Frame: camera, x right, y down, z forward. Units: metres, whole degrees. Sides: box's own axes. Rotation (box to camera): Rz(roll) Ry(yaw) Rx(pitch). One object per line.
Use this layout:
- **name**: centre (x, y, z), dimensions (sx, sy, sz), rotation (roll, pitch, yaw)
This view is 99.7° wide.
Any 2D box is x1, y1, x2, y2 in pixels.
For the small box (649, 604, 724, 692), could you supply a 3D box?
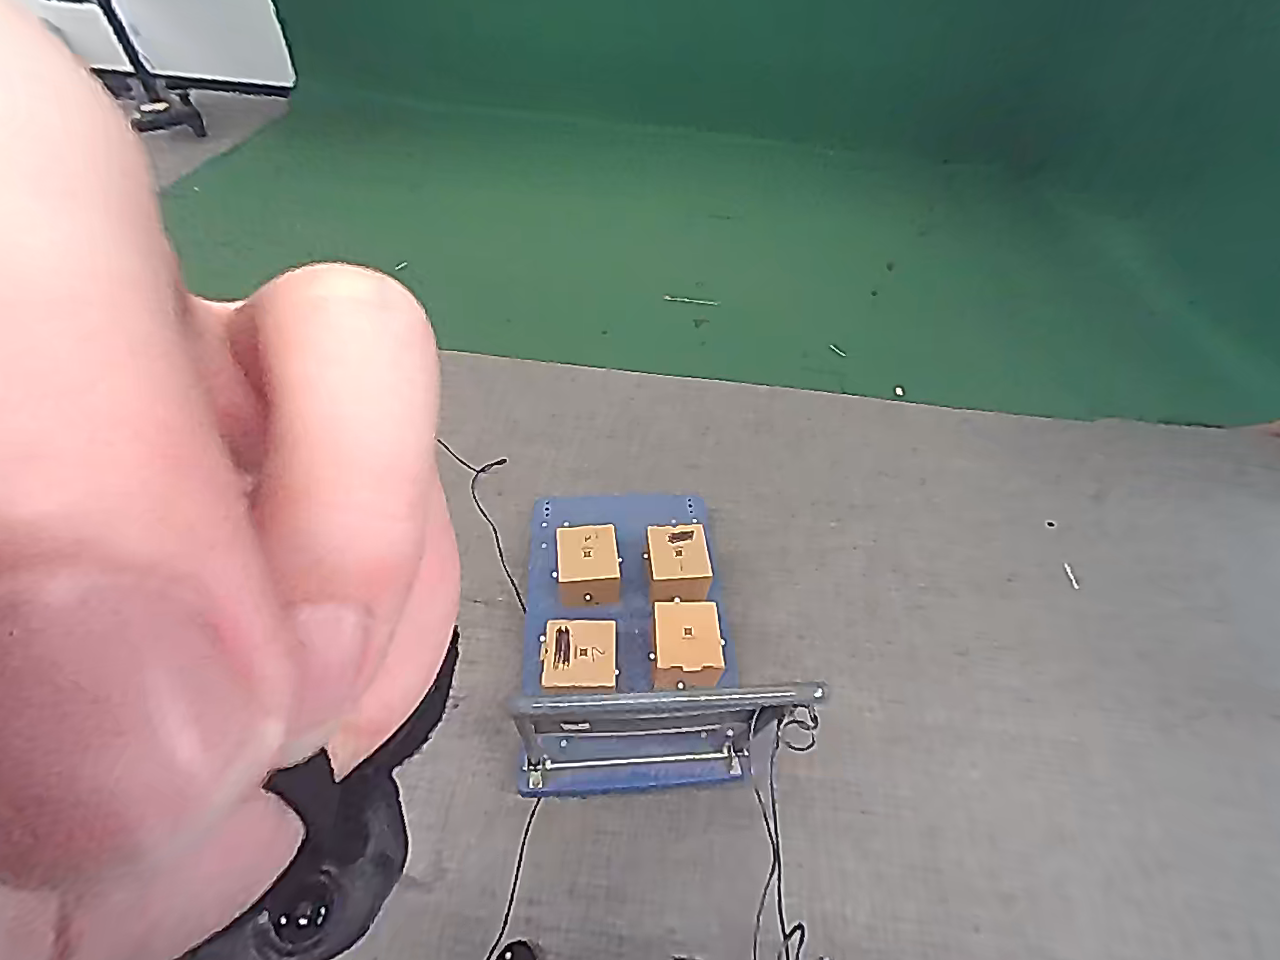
- **small box**: centre (0.115, 0.443, 1.421), dimensions (0.168, 0.176, 0.179), rotation (1, 51, -4)

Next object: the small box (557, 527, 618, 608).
- **small box**: centre (-0.151, 0.256, 1.551), dimensions (0.168, 0.176, 0.179), rotation (-3, 51, -8)

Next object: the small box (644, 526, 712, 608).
- **small box**: centre (0.104, 0.254, 1.572), dimensions (0.168, 0.176, 0.179), rotation (-3, 52, -6)
